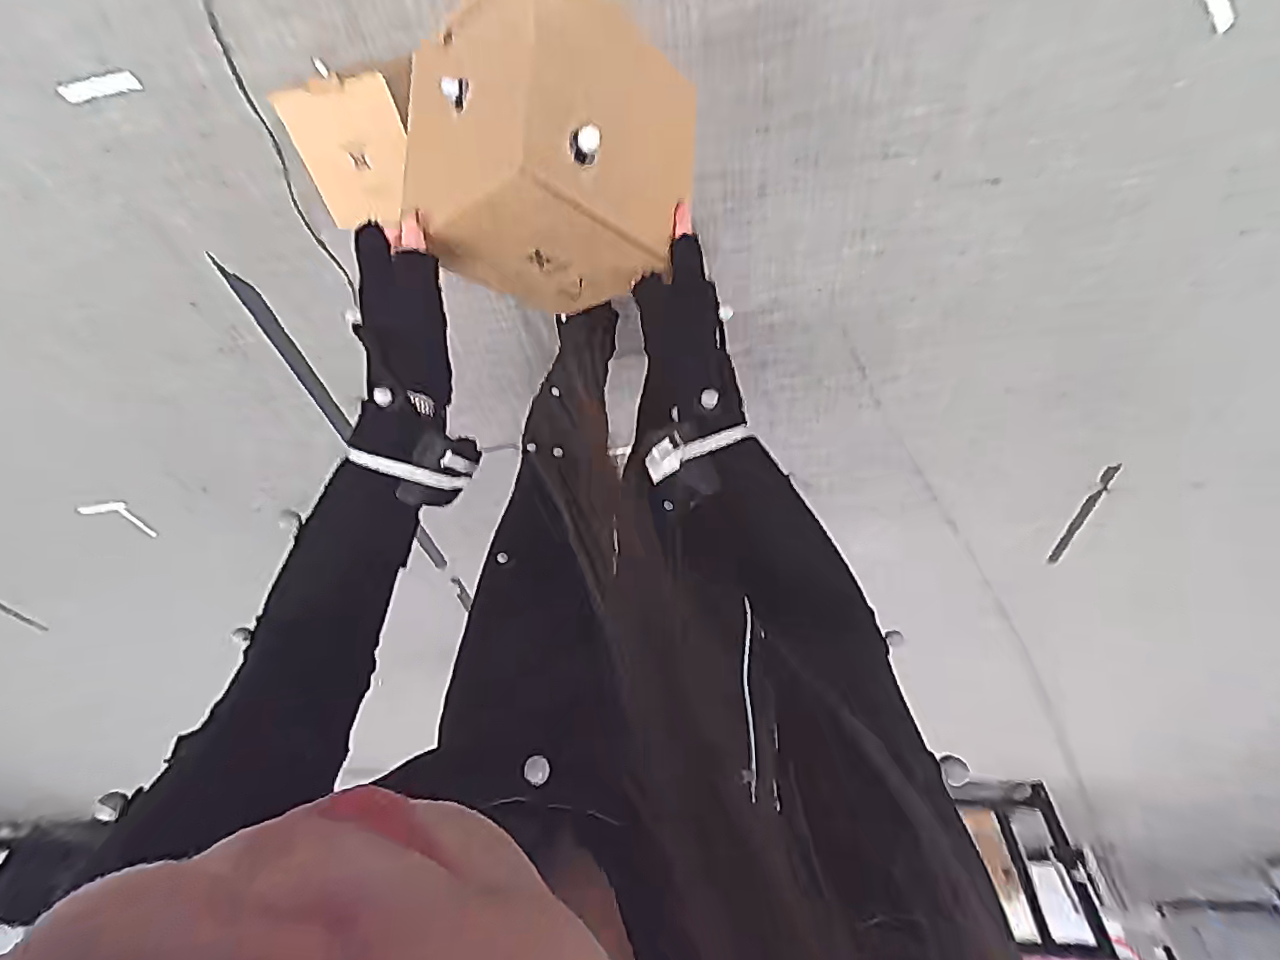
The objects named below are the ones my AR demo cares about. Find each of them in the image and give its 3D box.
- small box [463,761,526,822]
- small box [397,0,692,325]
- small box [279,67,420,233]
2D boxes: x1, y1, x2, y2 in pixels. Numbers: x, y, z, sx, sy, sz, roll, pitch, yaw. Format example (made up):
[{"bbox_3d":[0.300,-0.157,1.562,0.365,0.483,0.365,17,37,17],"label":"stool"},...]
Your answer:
[{"bbox_3d":[-0.534,1.163,2.020,0.179,0.176,0.168,0,136,5],"label":"small box"},{"bbox_3d":[-0.073,-0.247,0.444,0.168,0.176,0.179,1,177,42],"label":"small box"},{"bbox_3d":[-0.387,-0.503,0.821,0.168,0.176,0.179,-4,136,8],"label":"small box"}]
